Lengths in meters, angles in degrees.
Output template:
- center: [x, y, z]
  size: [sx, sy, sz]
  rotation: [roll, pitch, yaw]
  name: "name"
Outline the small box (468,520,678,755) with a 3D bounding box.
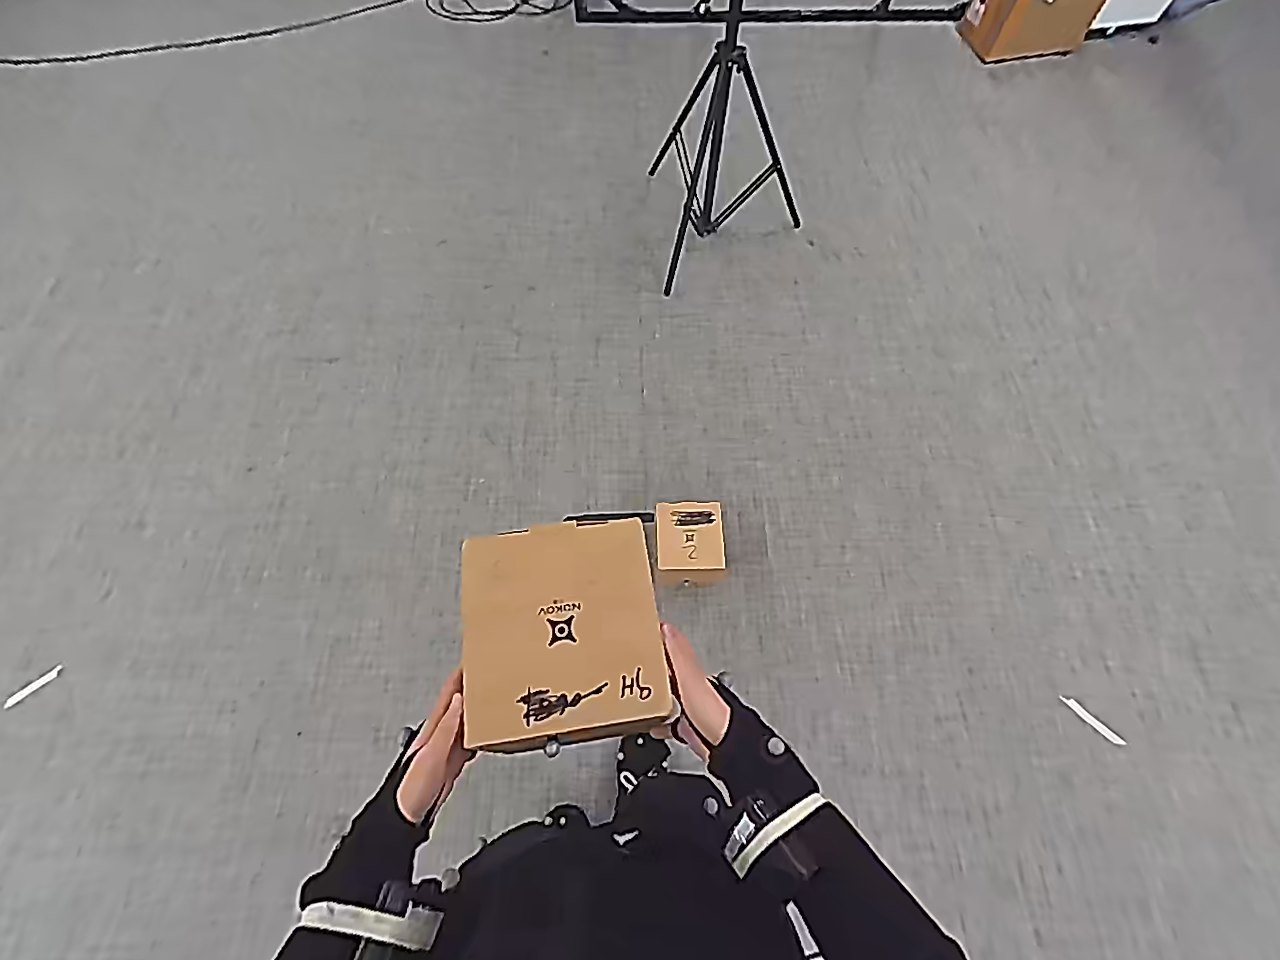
- center: [-0.067, 0.158, 0.527]
  size: [0.168, 0.176, 0.179]
  rotation: [-6, 62, -7]
  name: "small box"
